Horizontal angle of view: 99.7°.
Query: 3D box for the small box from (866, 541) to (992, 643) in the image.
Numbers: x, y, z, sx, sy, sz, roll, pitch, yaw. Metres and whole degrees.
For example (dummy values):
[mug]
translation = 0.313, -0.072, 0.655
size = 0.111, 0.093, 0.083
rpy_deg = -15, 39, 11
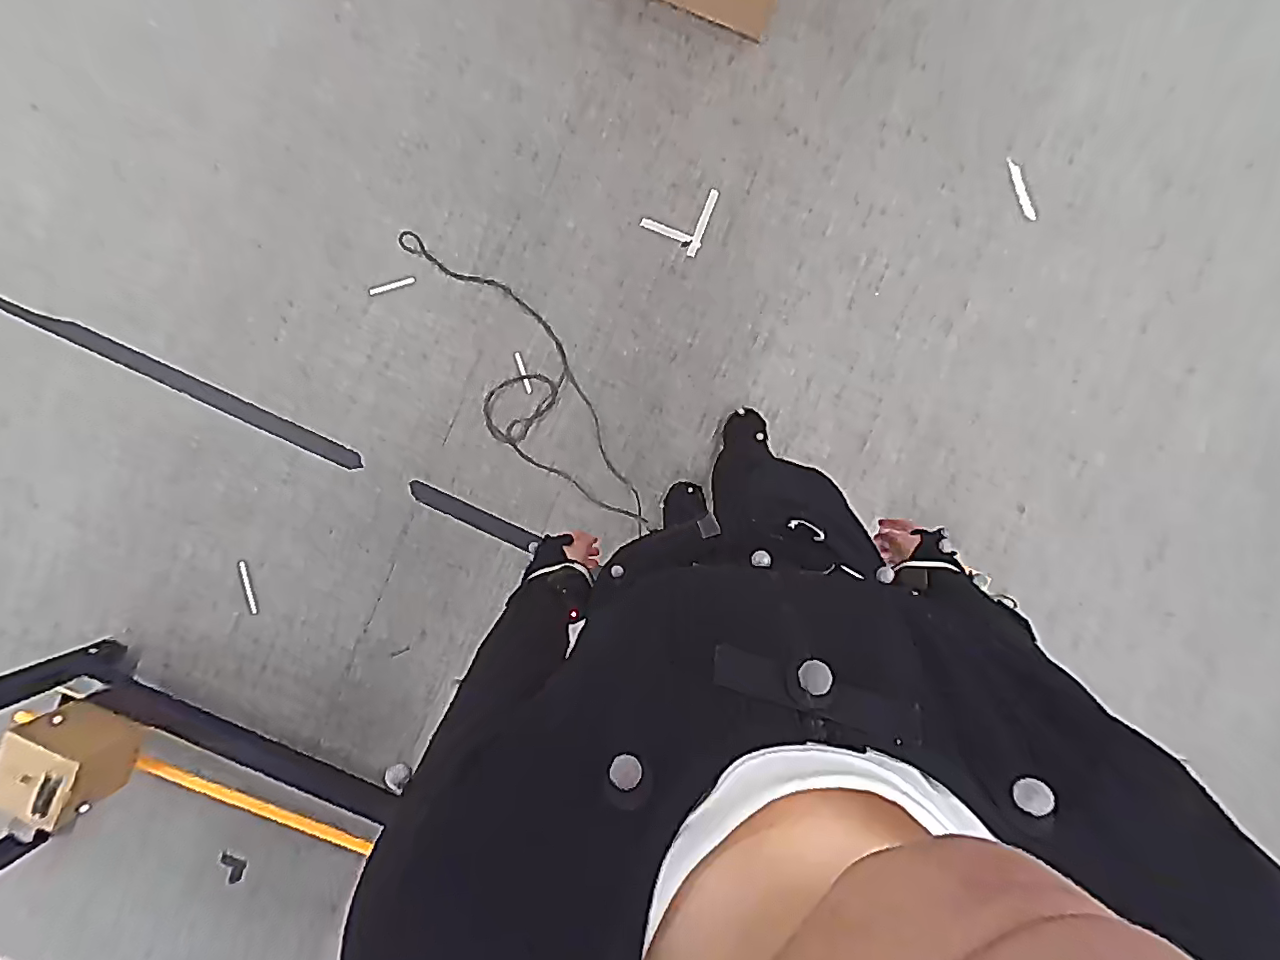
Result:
[small box]
translation = 0.677, 0.257, 1.287
size = 0.179, 0.176, 0.168
rpy_deg = 24, 92, 1
